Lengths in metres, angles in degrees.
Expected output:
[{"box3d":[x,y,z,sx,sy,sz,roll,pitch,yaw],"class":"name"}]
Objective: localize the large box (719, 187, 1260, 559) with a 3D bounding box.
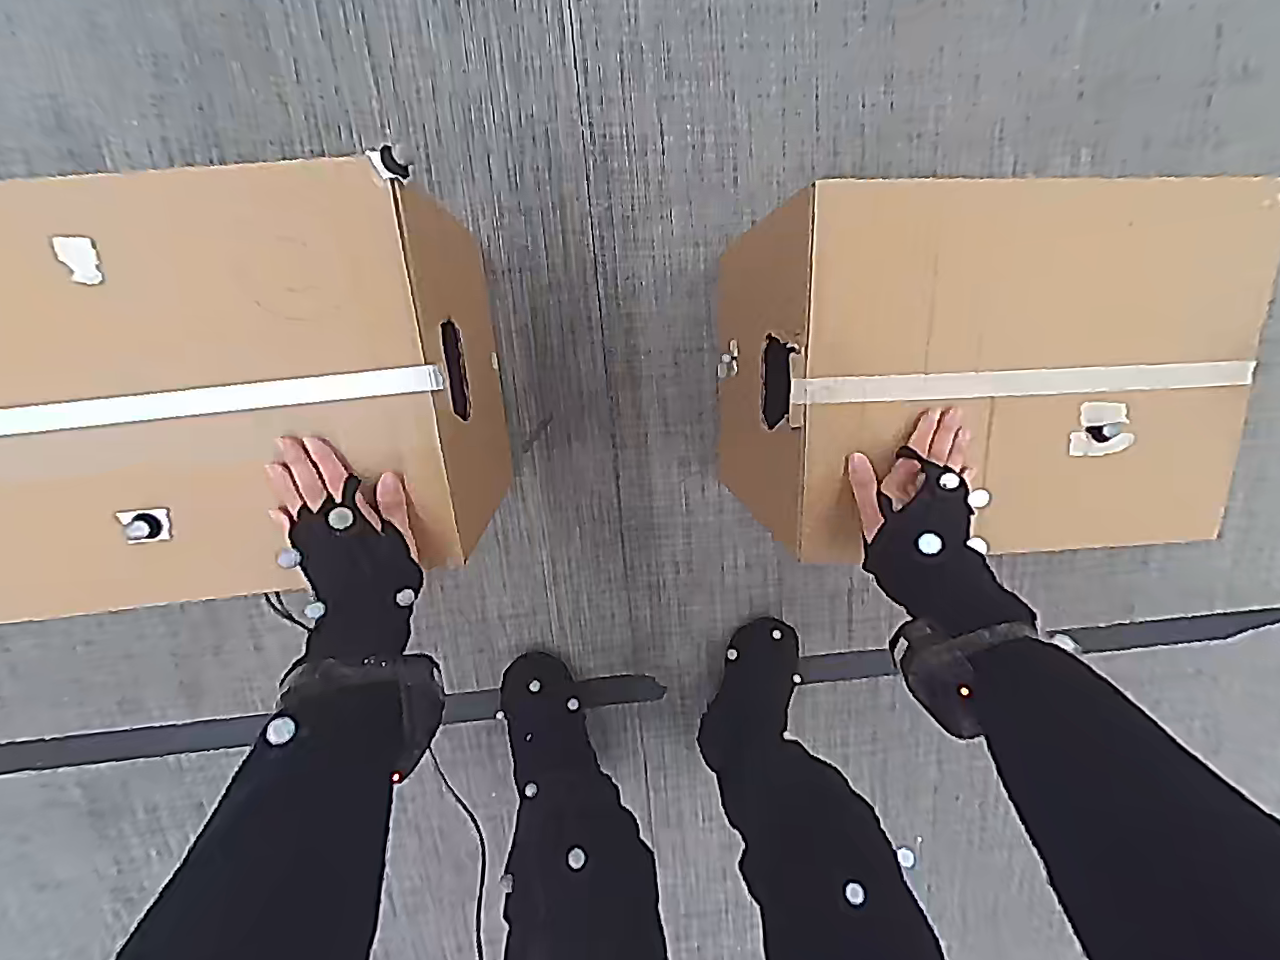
[{"box3d":[0.322,-0.121,0.621,0.408,0.320,0.320,-3,104,-5],"class":"large box"}]
